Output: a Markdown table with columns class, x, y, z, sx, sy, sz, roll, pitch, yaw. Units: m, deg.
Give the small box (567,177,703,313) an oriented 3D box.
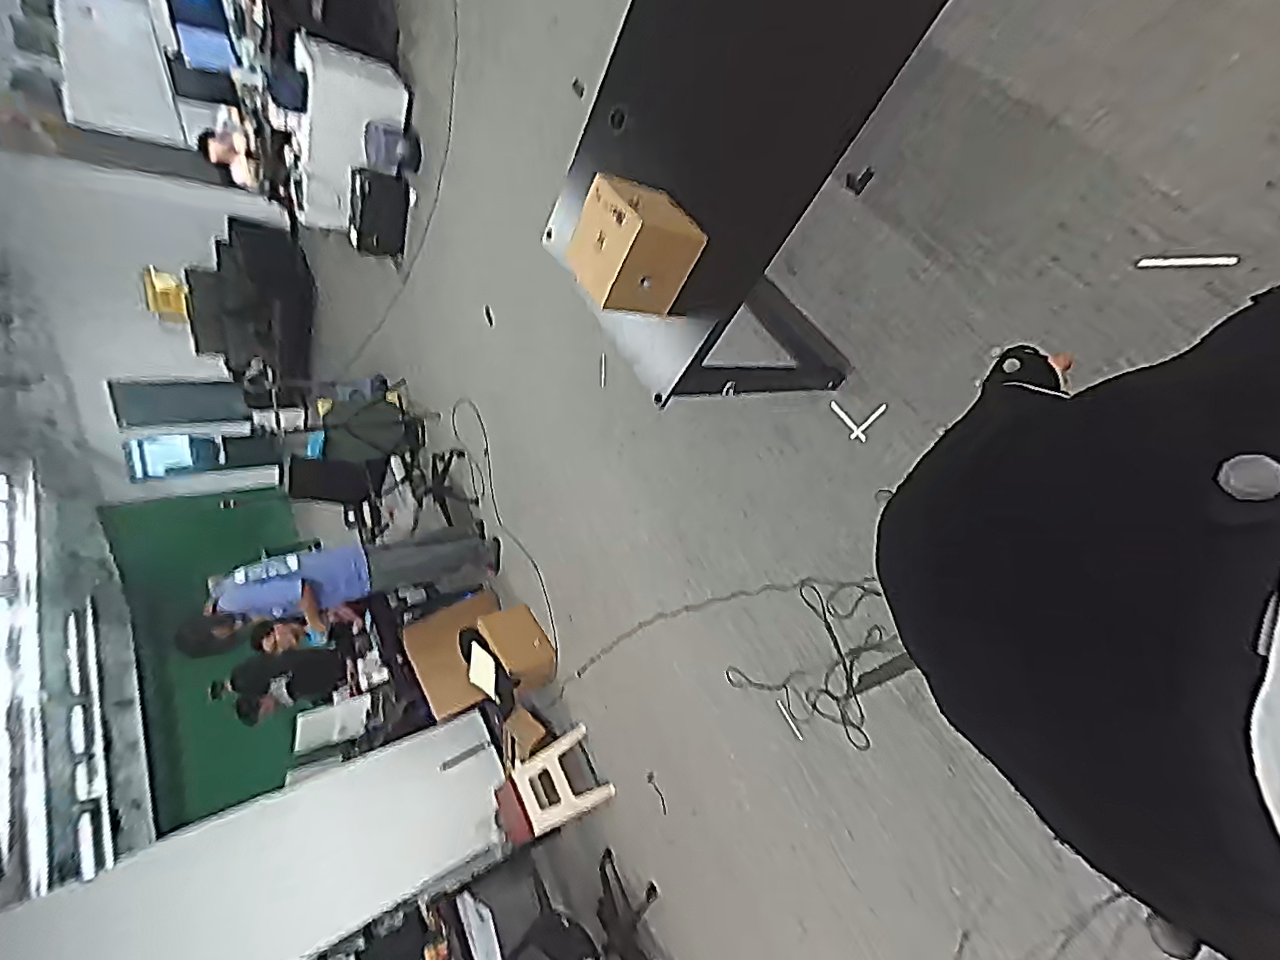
| class | x | y | z | sx | sy | sz | roll | pitch | yaw |
| --- | --- | --- | --- | --- | --- | --- | --- | --- | --- |
| small box | -0.011 | -0.439 | 1.037 | 0.168 | 0.176 | 0.179 | 56 | 135 | 26 |
